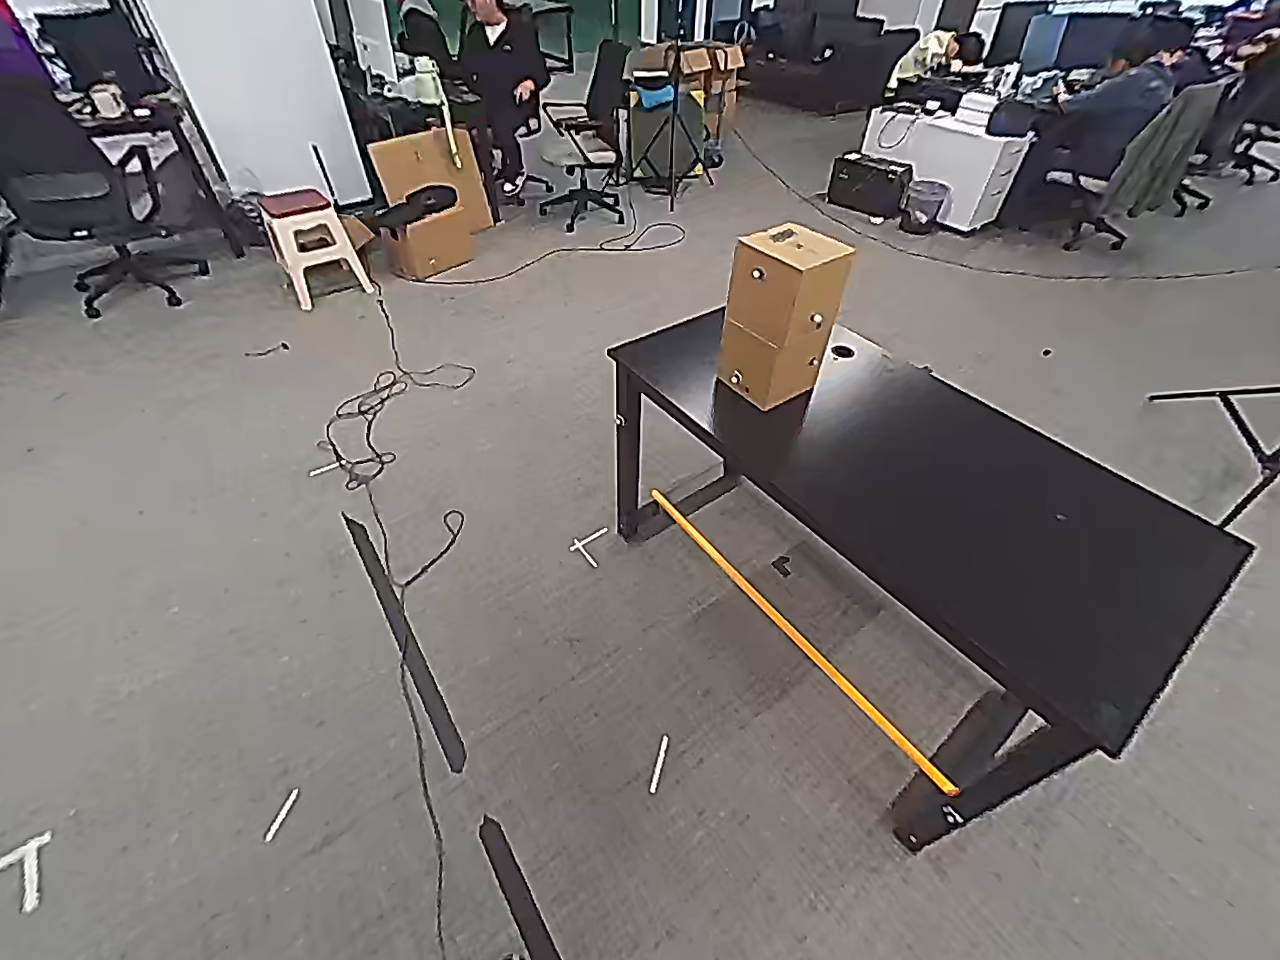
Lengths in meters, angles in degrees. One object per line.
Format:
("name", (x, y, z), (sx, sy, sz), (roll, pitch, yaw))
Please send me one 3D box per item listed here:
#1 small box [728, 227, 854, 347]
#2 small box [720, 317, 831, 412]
("small box", (0.304, -0.403, 1.129), (0.168, 0.176, 0.179), (-28, 52, -27))
("small box", (0.302, -0.287, 1.247), (0.179, 0.176, 0.168), (-28, 51, -25))
